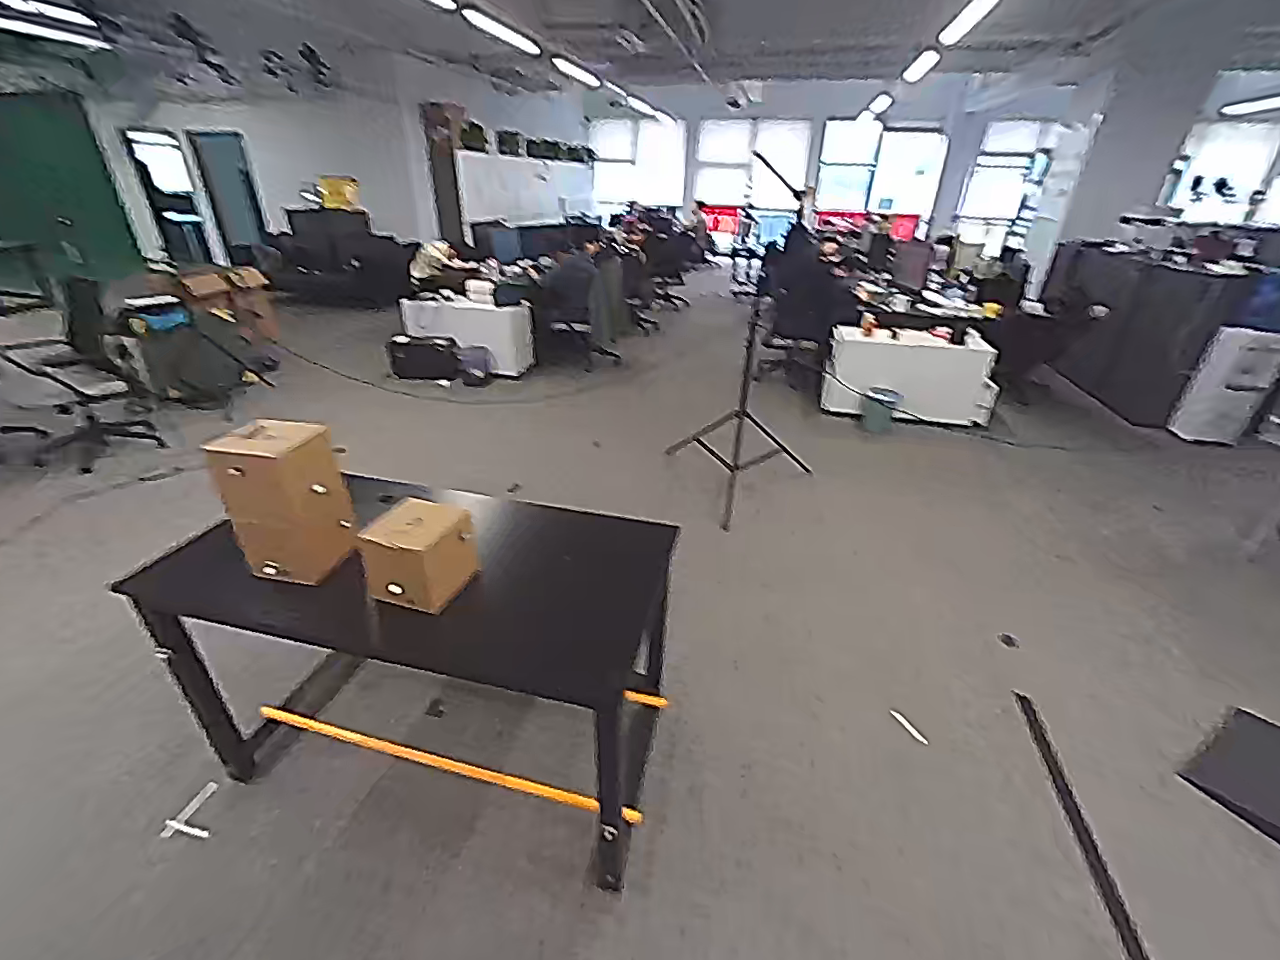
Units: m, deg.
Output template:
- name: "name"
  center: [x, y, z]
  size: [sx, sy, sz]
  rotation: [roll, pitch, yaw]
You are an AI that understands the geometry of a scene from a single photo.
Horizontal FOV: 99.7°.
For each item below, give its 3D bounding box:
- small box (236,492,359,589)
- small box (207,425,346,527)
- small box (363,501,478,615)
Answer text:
- name: "small box"
  center: [-0.800, 0.133, 1.288]
  size: [0.168, 0.176, 0.179]
  rotation: [5, 30, 9]
- name: "small box"
  center: [-0.799, -0.010, 1.207]
  size: [0.179, 0.176, 0.168]
  rotation: [6, 29, 8]
- name: "small box"
  center: [-0.485, 0.174, 1.223]
  size: [0.168, 0.176, 0.179]
  rotation: [10, 29, 15]
